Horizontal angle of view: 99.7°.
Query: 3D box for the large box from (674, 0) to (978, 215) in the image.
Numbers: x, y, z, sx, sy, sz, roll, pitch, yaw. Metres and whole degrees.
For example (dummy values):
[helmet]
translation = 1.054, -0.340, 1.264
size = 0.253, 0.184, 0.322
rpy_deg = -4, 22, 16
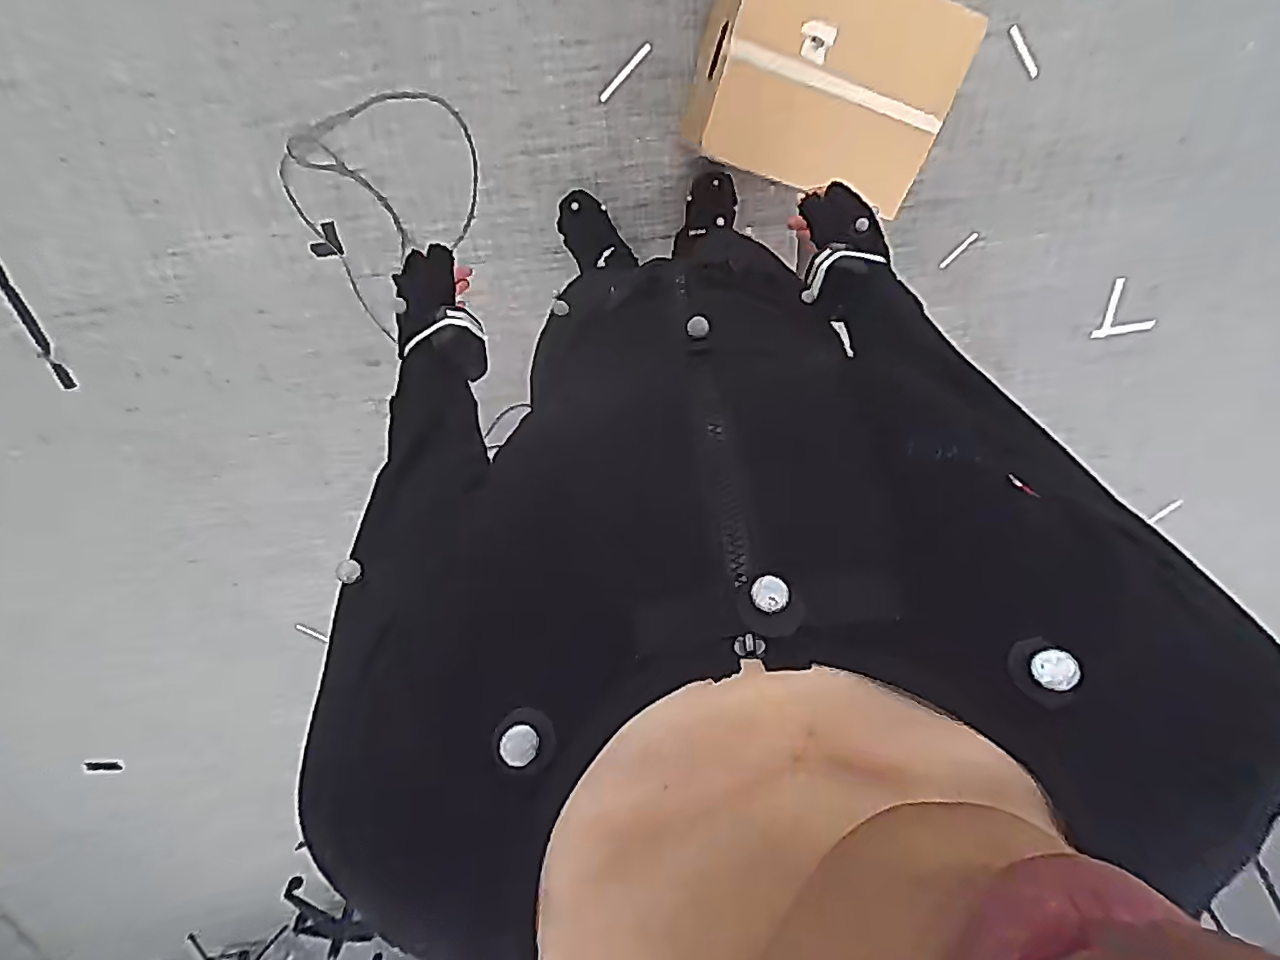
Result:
[large box]
translation = 0.317, -0.756, 1.046
size = 0.408, 0.320, 0.320
rpy_deg = 14, 120, -13
